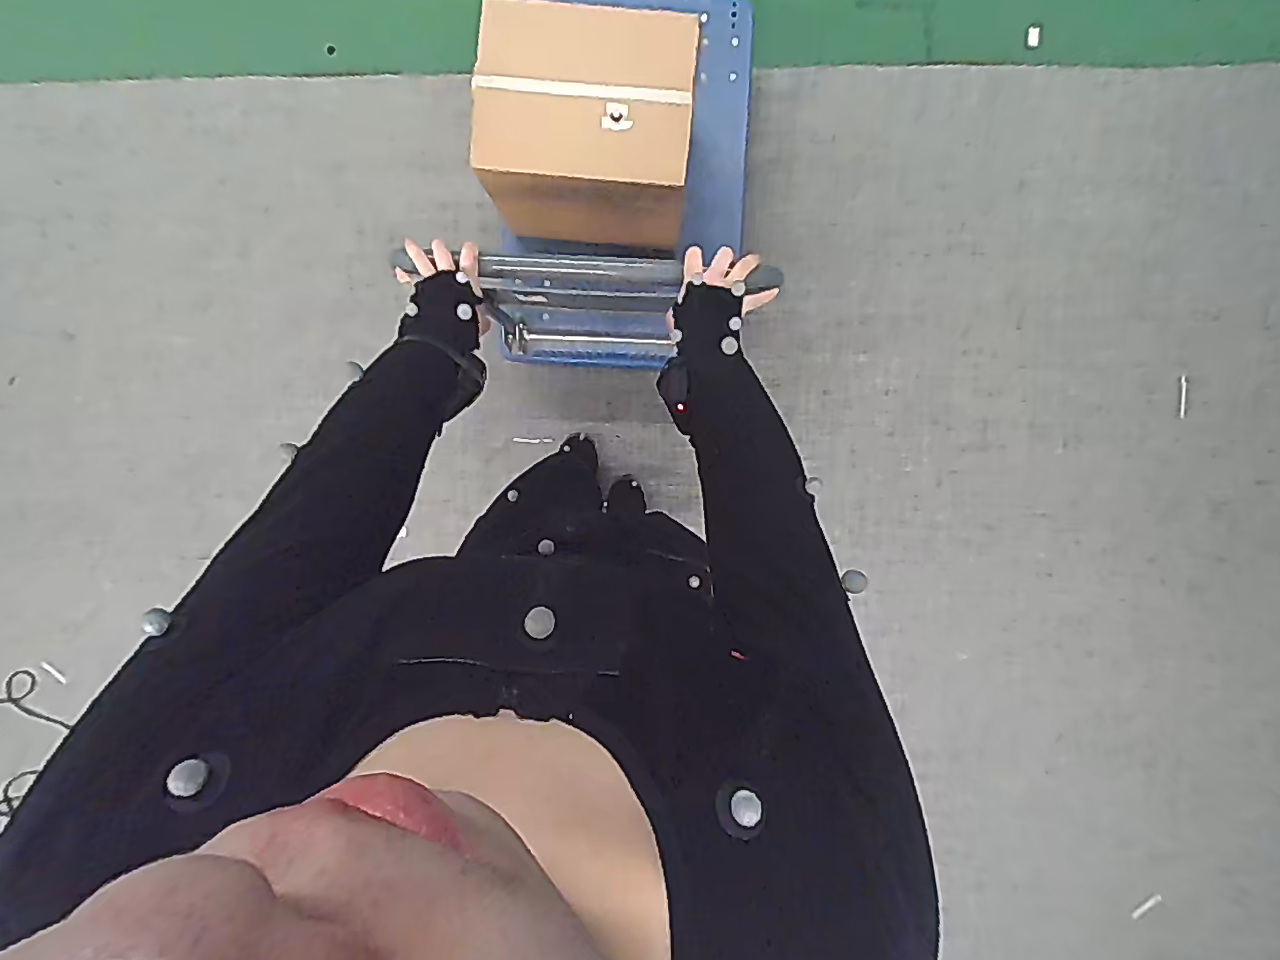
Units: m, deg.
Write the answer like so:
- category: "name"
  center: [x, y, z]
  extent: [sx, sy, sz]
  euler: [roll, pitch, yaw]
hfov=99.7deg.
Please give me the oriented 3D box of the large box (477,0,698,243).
- category: "large box"
  center: [-0.102, -0.735, 1.161]
  extent: [0.408, 0.320, 0.320]
  euler: [5, 93, 0]
